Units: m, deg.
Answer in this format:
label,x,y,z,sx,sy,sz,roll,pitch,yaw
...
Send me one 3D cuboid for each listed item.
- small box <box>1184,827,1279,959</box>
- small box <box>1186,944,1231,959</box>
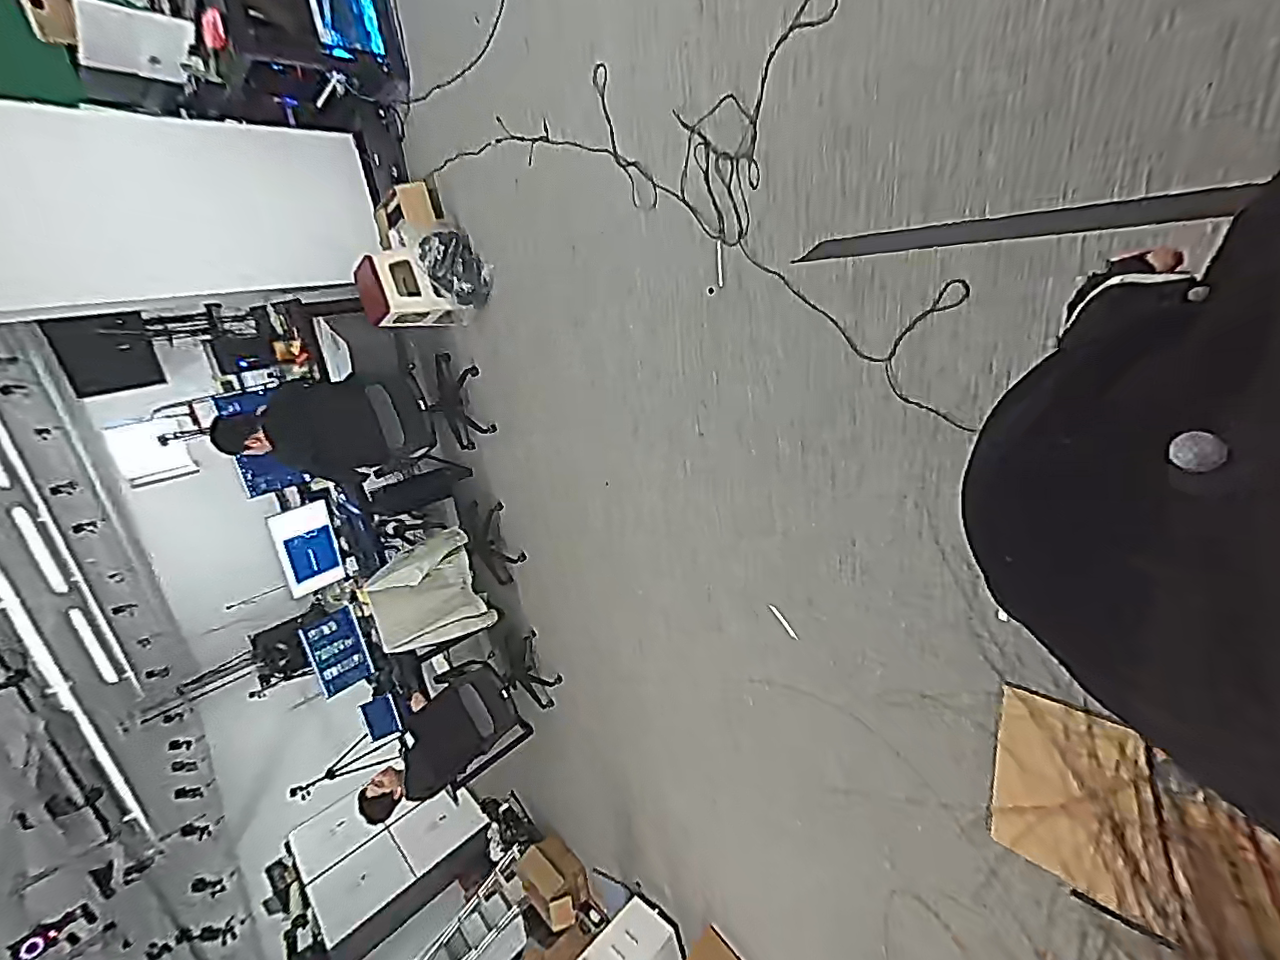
label,x,y,z,sx,sy,sz,roll,pitch,yaw
small box,1.357,0.933,1.206,0.168,0.176,0.179,18,122,45
small box,1.119,1.042,1.007,0.168,0.176,0.179,15,119,45
